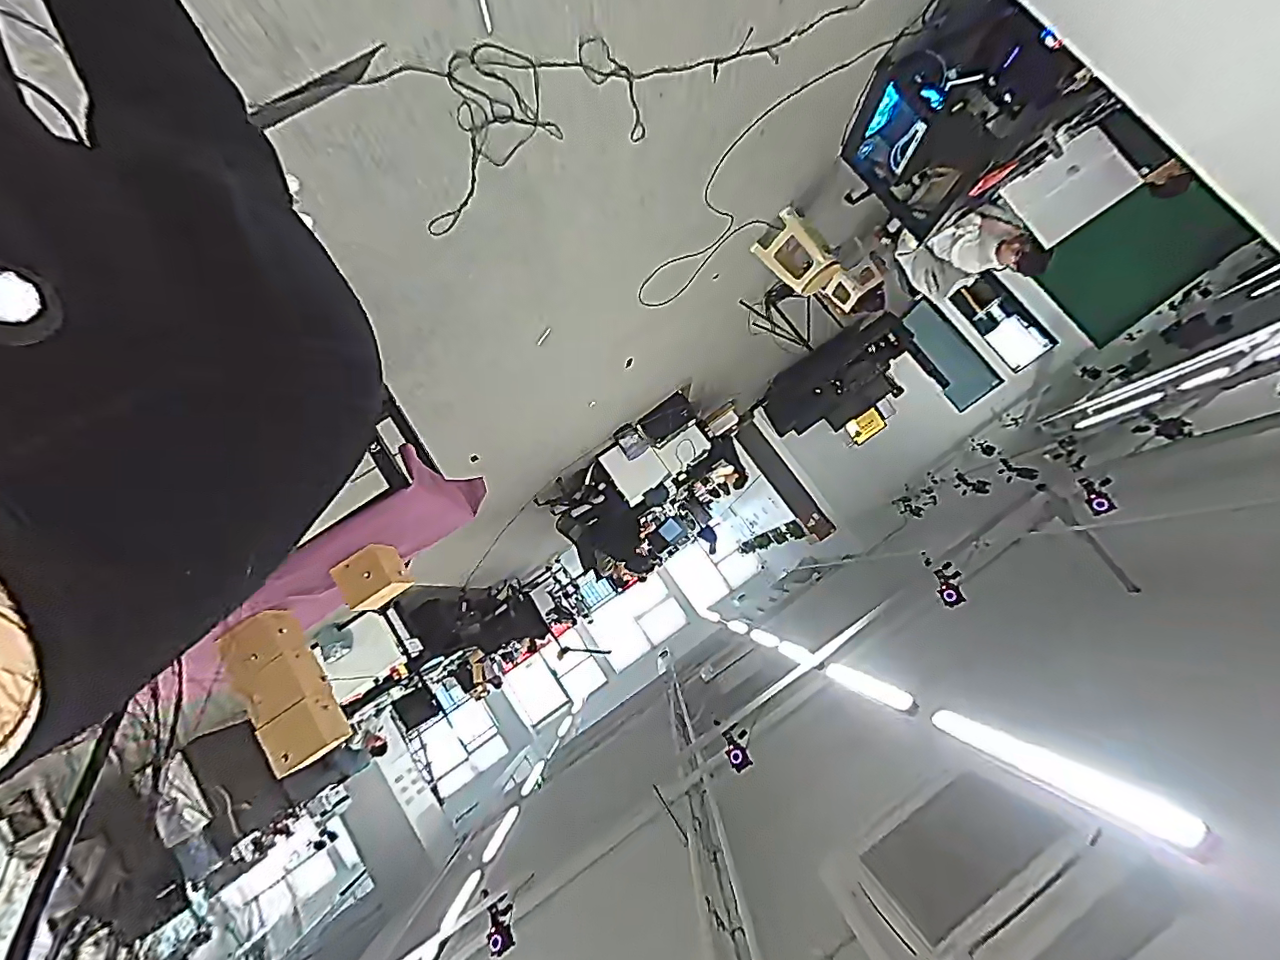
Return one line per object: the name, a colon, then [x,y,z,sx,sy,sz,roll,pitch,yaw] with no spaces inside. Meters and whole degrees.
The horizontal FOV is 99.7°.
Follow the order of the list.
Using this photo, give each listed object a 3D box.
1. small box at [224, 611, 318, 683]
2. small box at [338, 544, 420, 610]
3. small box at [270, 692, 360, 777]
small box: [-1.258,0.561,1.844,0.179,0.176,0.168,-34,169,-8]
small box: [-0.928,0.341,1.922,0.168,0.176,0.179,-35,171,-5]
small box: [-1.077,0.829,1.782,0.179,0.176,0.168,-35,170,-8]
